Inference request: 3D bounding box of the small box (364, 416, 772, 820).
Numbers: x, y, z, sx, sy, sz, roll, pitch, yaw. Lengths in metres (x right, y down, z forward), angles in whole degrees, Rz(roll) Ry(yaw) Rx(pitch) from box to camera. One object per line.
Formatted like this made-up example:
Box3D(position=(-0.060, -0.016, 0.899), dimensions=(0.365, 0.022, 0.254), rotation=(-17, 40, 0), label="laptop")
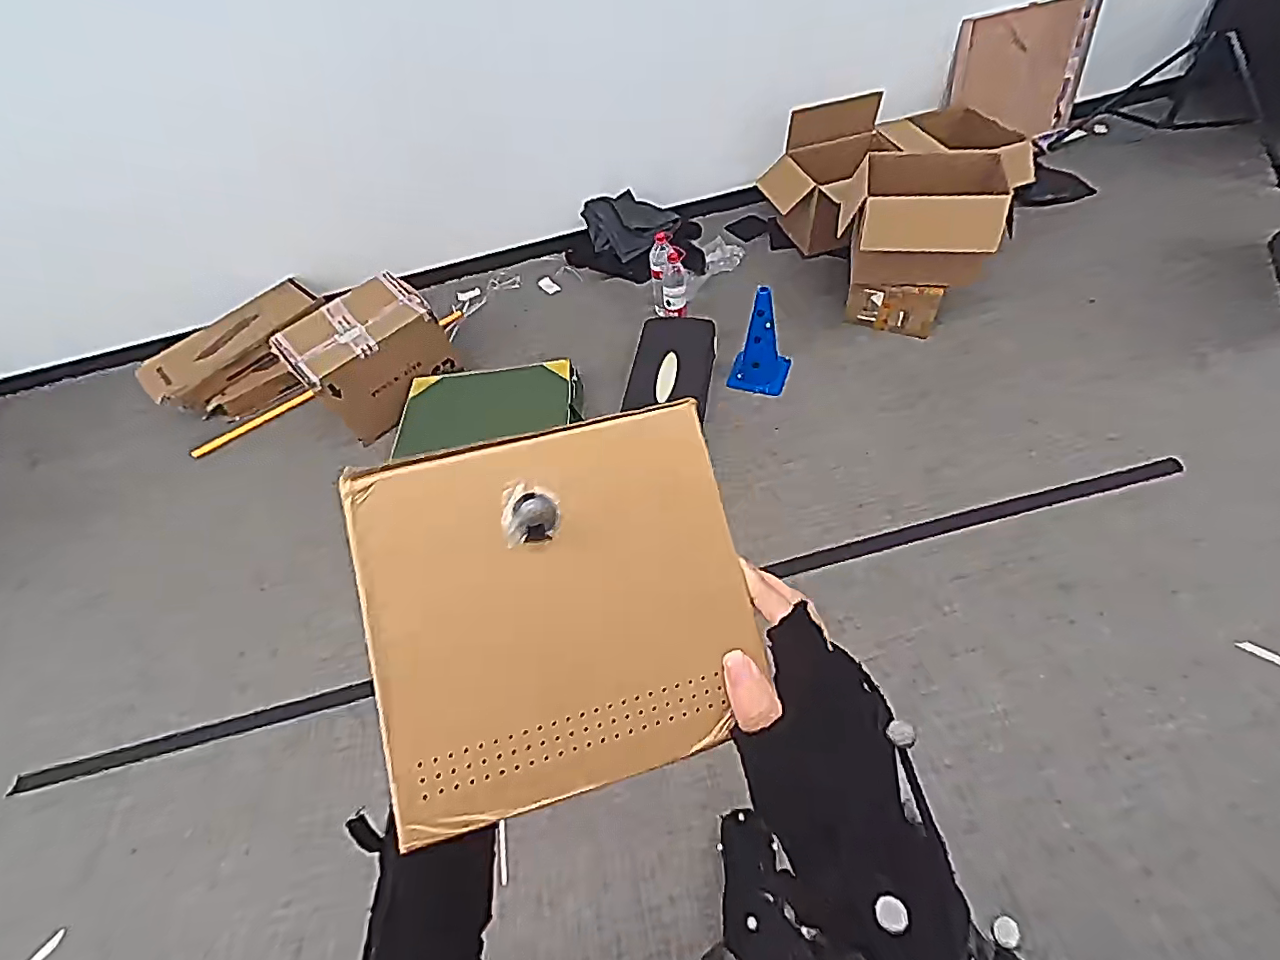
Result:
Box3D(position=(-0.041, 0.080, 0.345), dimensions=(0.179, 0.168, 0.176), rotation=(-14, 81, -8), label="small box")
